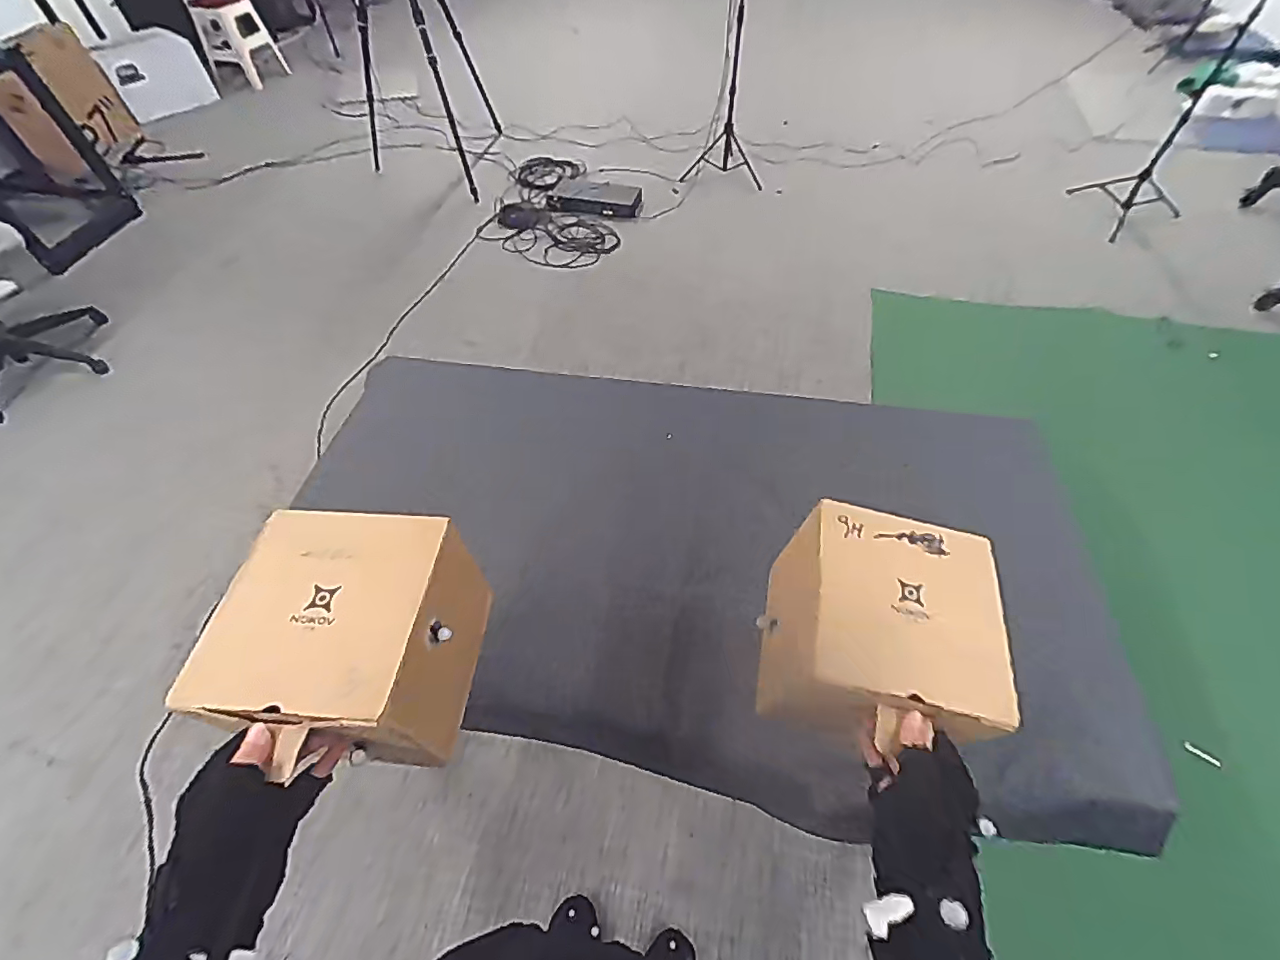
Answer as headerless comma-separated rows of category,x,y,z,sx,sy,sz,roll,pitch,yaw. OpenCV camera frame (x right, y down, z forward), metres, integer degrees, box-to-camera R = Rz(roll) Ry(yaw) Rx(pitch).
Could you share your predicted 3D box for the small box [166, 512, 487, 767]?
small box,-0.253,0.150,0.496,0.168,0.176,0.179,3,52,2
